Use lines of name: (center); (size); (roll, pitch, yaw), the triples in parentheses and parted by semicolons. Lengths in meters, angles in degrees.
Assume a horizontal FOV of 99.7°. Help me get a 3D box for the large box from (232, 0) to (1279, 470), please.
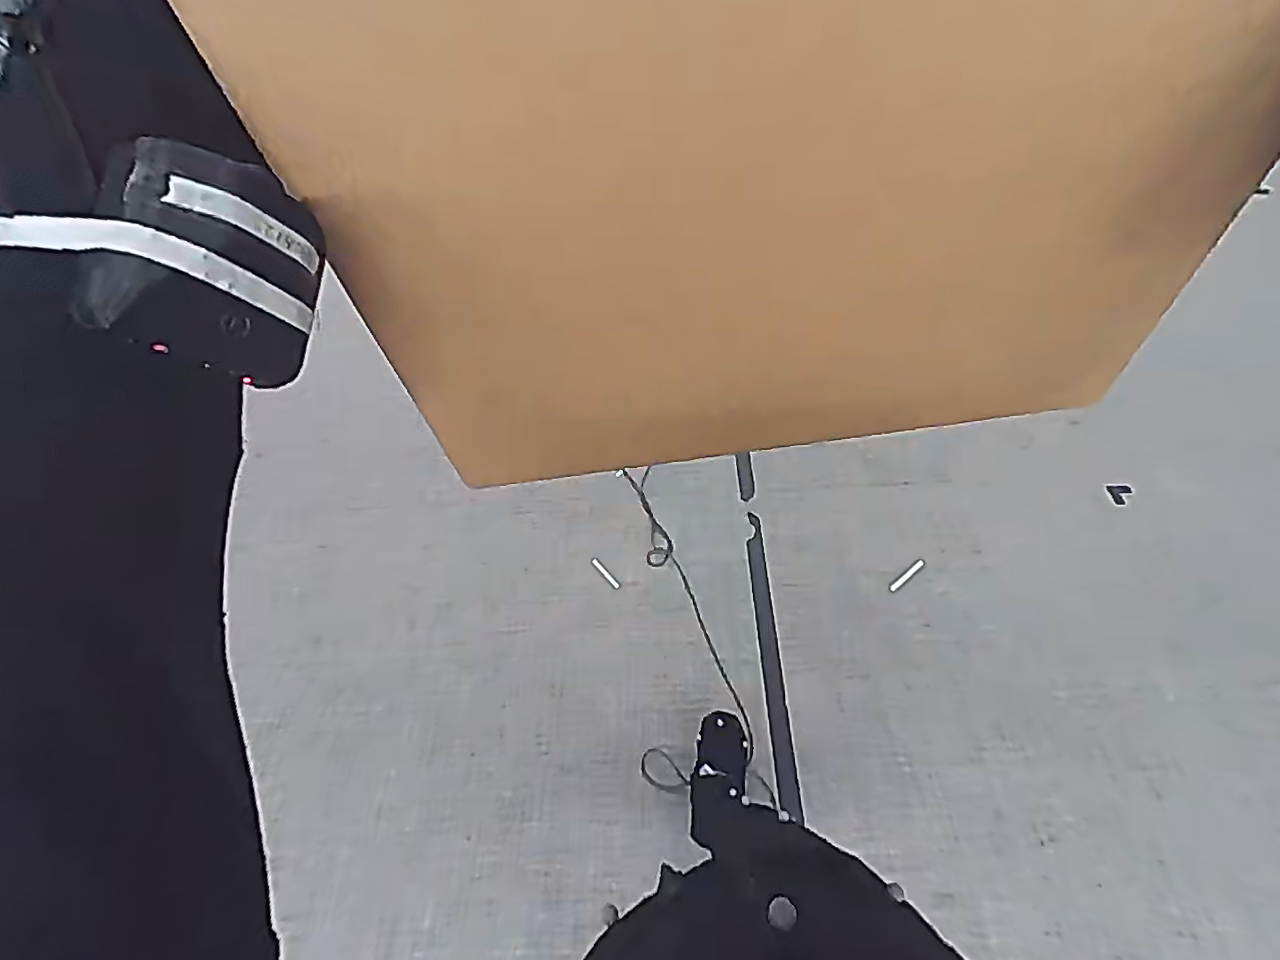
large box: (0.054, -0.239, 0.338); (0.408, 0.320, 0.320); (-8, 51, 1)
